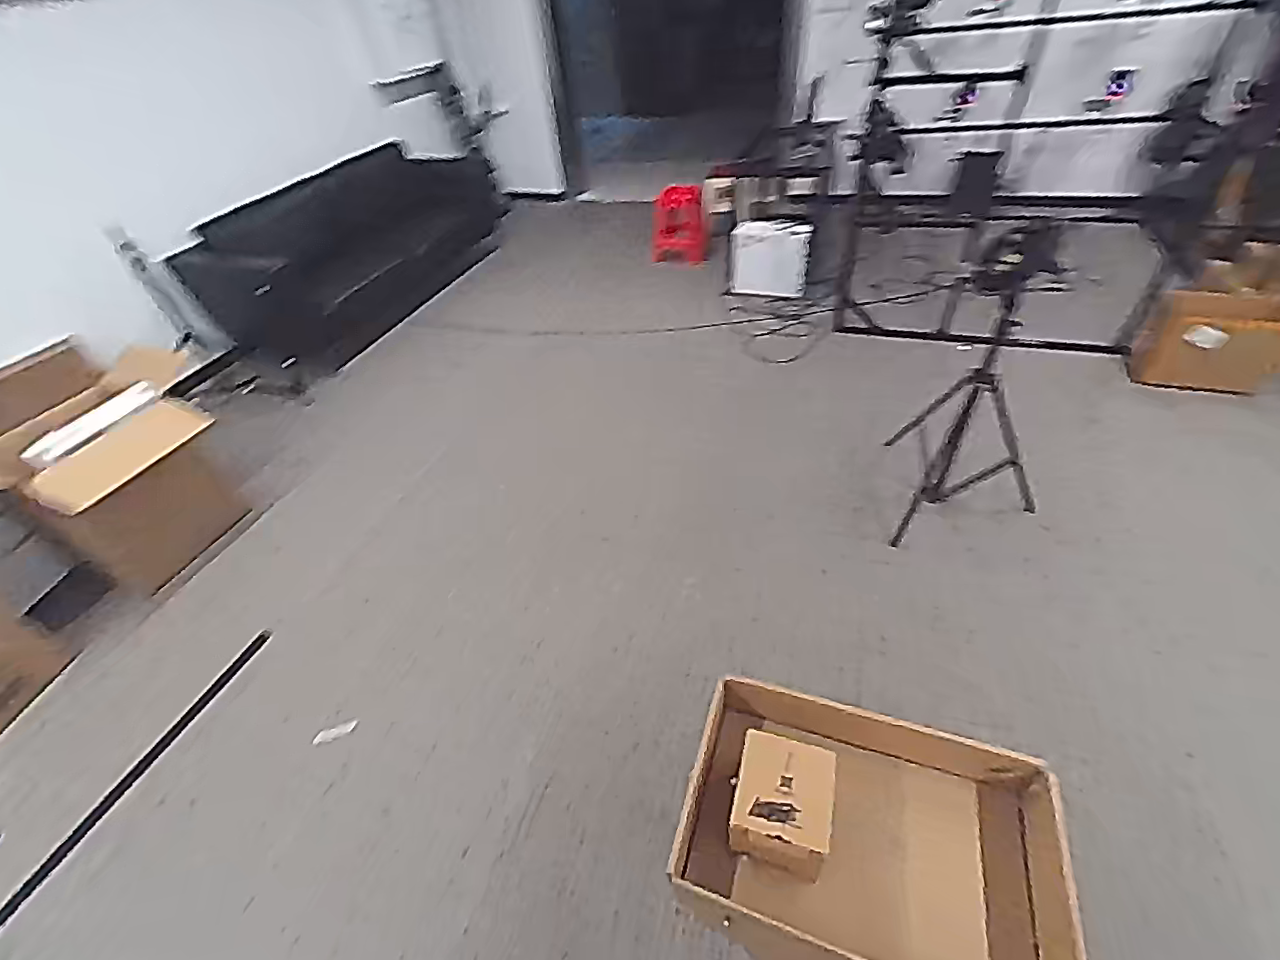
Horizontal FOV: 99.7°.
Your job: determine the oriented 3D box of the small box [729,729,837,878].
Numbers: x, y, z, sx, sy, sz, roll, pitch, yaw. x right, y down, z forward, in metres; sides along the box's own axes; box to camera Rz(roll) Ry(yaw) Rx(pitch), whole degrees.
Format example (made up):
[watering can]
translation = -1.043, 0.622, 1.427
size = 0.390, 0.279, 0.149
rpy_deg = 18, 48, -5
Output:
[small box]
translation = 0.267, 0.609, 1.016
size = 0.168, 0.176, 0.179
rpy_deg = 9, 44, 18
